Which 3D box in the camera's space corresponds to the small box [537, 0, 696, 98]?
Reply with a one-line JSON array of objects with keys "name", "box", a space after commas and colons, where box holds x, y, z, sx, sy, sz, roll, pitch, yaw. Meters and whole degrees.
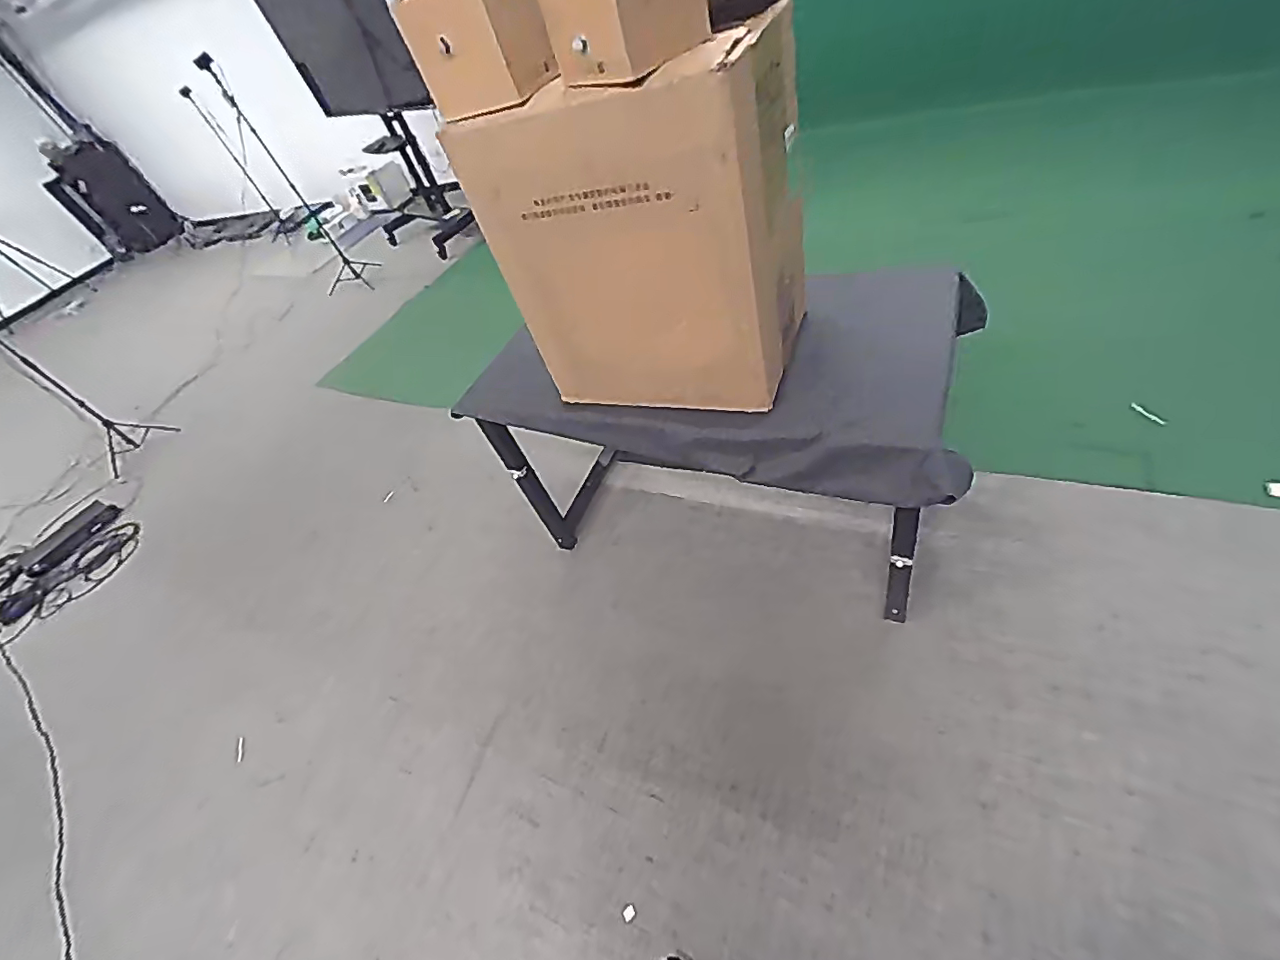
[{"name": "small box", "box": [-0.035, -0.690, 0.795, 0.179, 0.176, 0.168, -44, 49, -19]}]

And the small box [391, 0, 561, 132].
[{"name": "small box", "box": [-0.266, -0.716, 0.910, 0.179, 0.176, 0.168, 5, 52, 28]}]
